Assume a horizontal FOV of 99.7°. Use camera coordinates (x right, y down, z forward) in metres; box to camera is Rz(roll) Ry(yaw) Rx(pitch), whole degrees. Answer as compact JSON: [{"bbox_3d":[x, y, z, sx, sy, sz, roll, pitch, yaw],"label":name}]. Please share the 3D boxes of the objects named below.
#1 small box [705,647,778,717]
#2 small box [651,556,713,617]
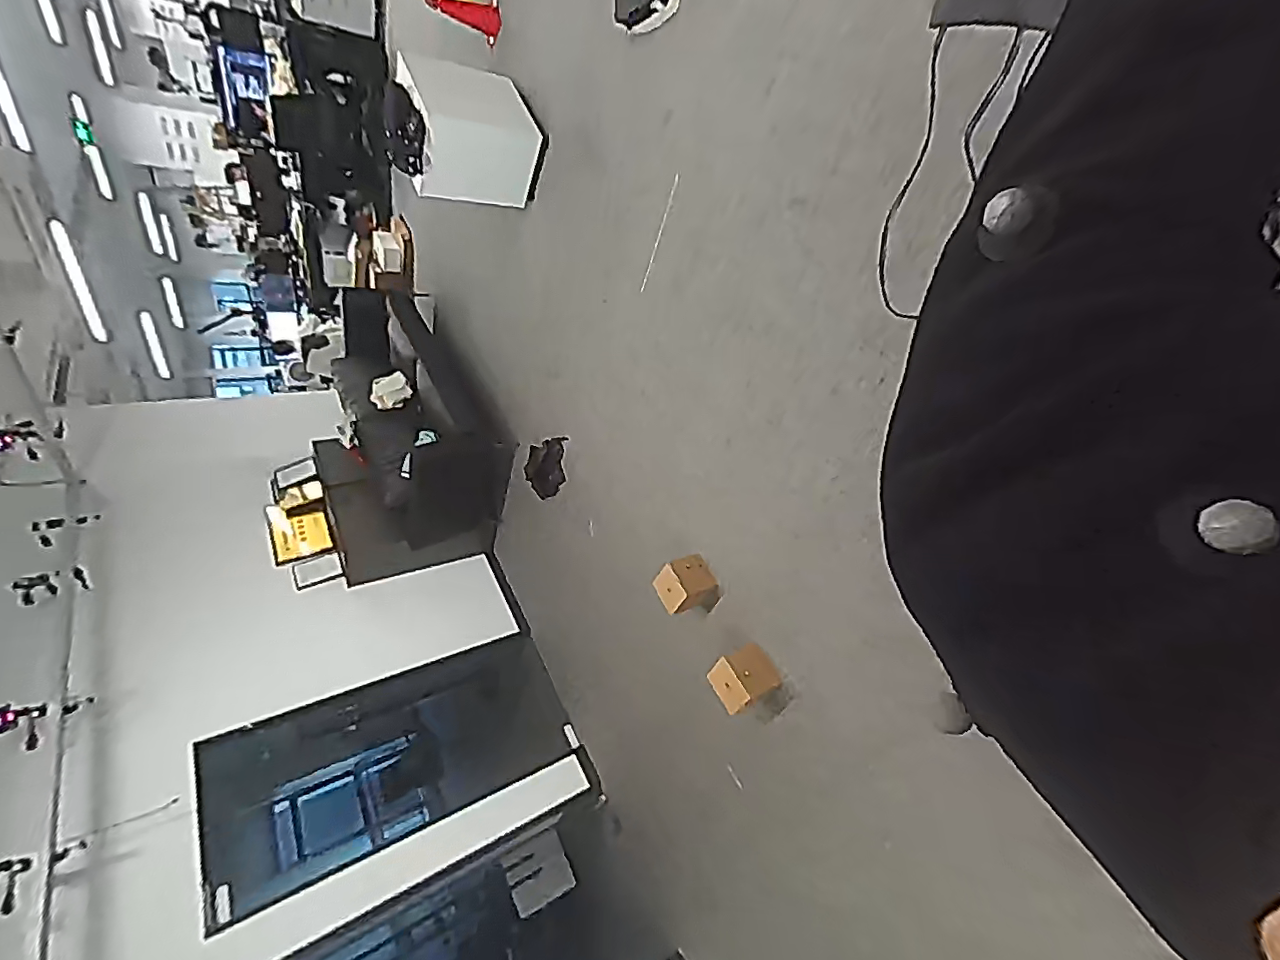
[{"bbox_3d":[0.383,0.755,2.041,0.179,0.176,0.168,54,139,31],"label":"small box"},{"bbox_3d":[0.178,0.439,2.251,0.168,0.176,0.179,59,142,29],"label":"small box"}]
